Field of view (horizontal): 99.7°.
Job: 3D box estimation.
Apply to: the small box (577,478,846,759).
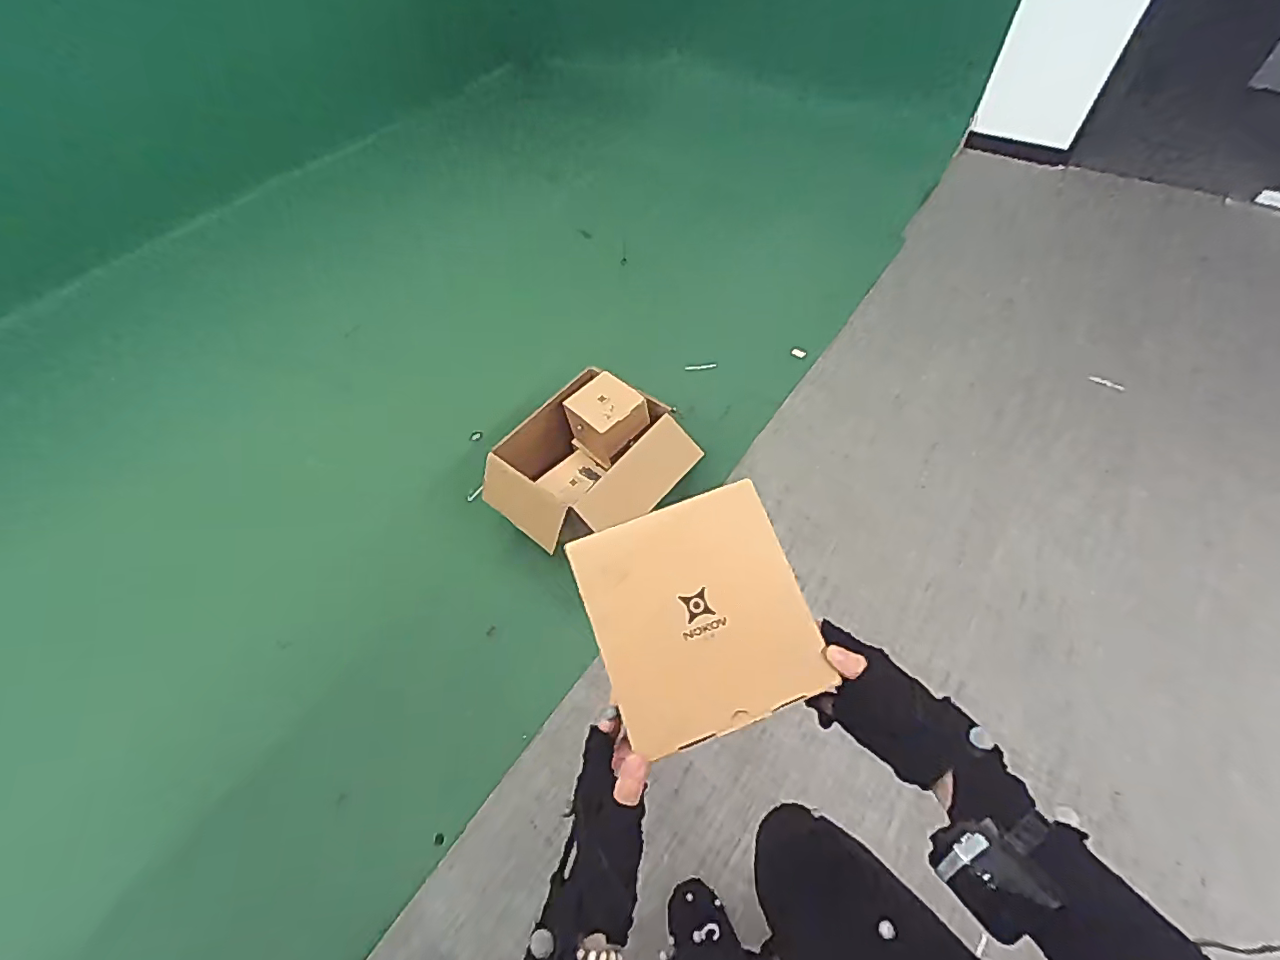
[{"bbox_3d":[0.049,0.123,0.496,0.168,0.176,0.179,-19,75,-7],"label":"small box"}]
